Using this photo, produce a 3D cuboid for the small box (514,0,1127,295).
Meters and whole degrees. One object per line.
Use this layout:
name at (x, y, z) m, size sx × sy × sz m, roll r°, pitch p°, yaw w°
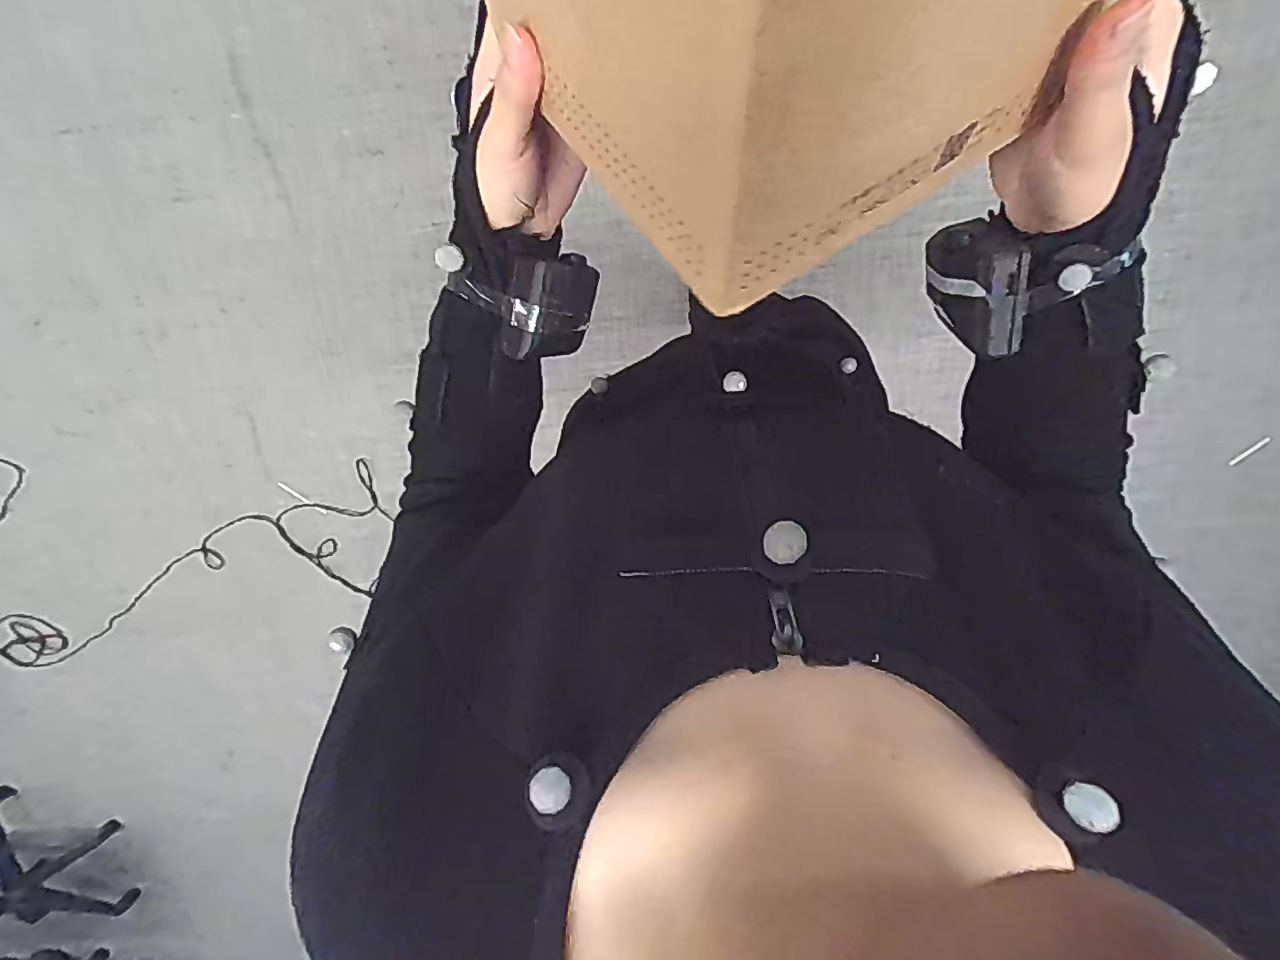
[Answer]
small box at (0.050, -0.199, 0.169) m, size 0.168 × 0.176 × 0.179 m, roll -33°, pitch 72°, yaw -5°
